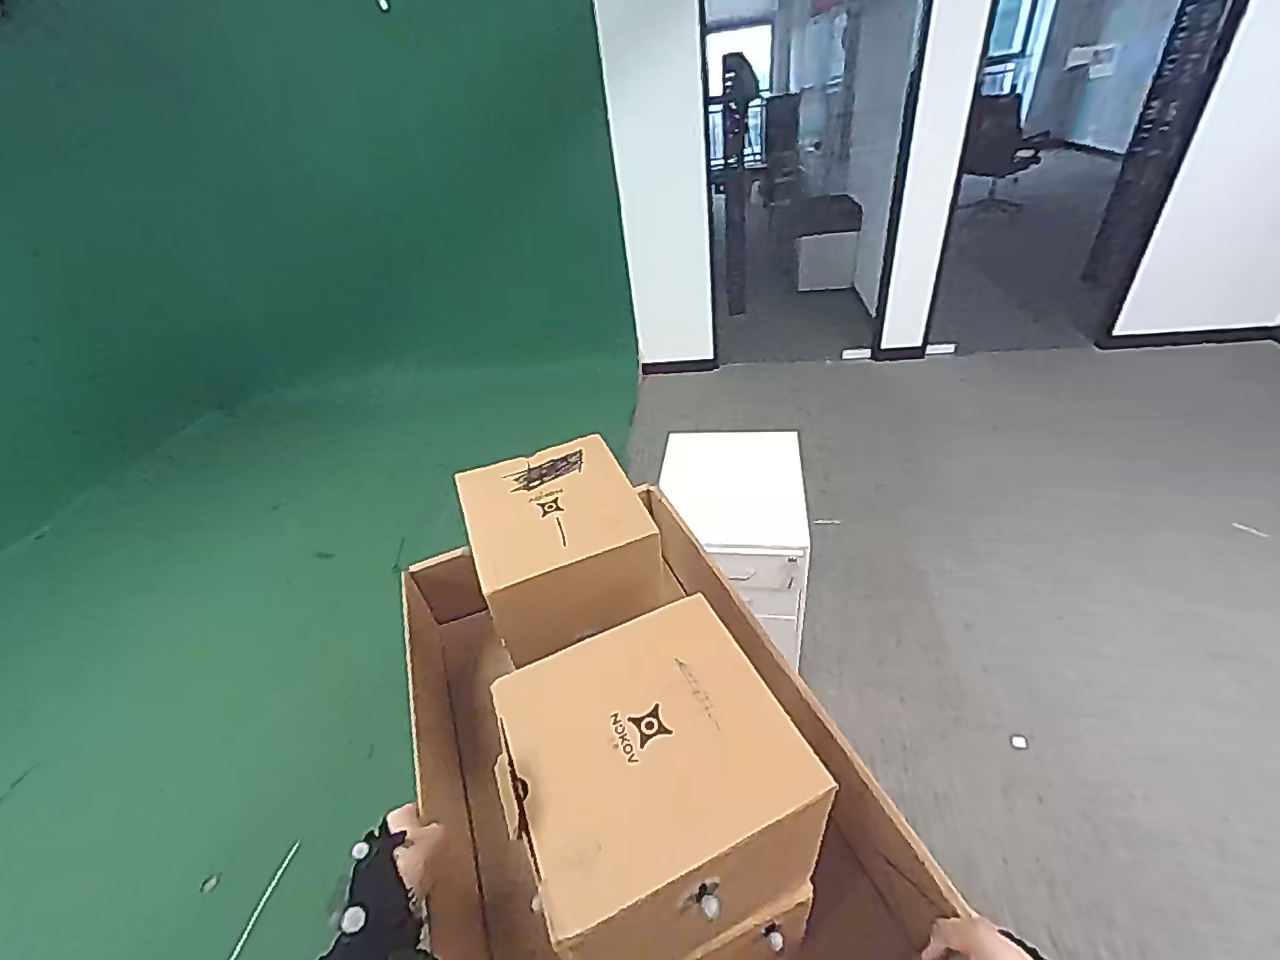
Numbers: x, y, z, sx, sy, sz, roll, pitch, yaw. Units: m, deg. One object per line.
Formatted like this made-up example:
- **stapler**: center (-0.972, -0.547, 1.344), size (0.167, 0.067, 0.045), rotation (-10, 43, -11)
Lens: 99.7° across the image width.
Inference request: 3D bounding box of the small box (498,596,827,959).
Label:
- **small box**: center (0.013, 0.226, 0.407), size (0.179, 0.176, 0.168), rotation (-19, 39, -16)

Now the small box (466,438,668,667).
- **small box**: center (-0.078, 0.085, 0.593), size (0.168, 0.176, 0.179), rotation (-18, 42, -14)
